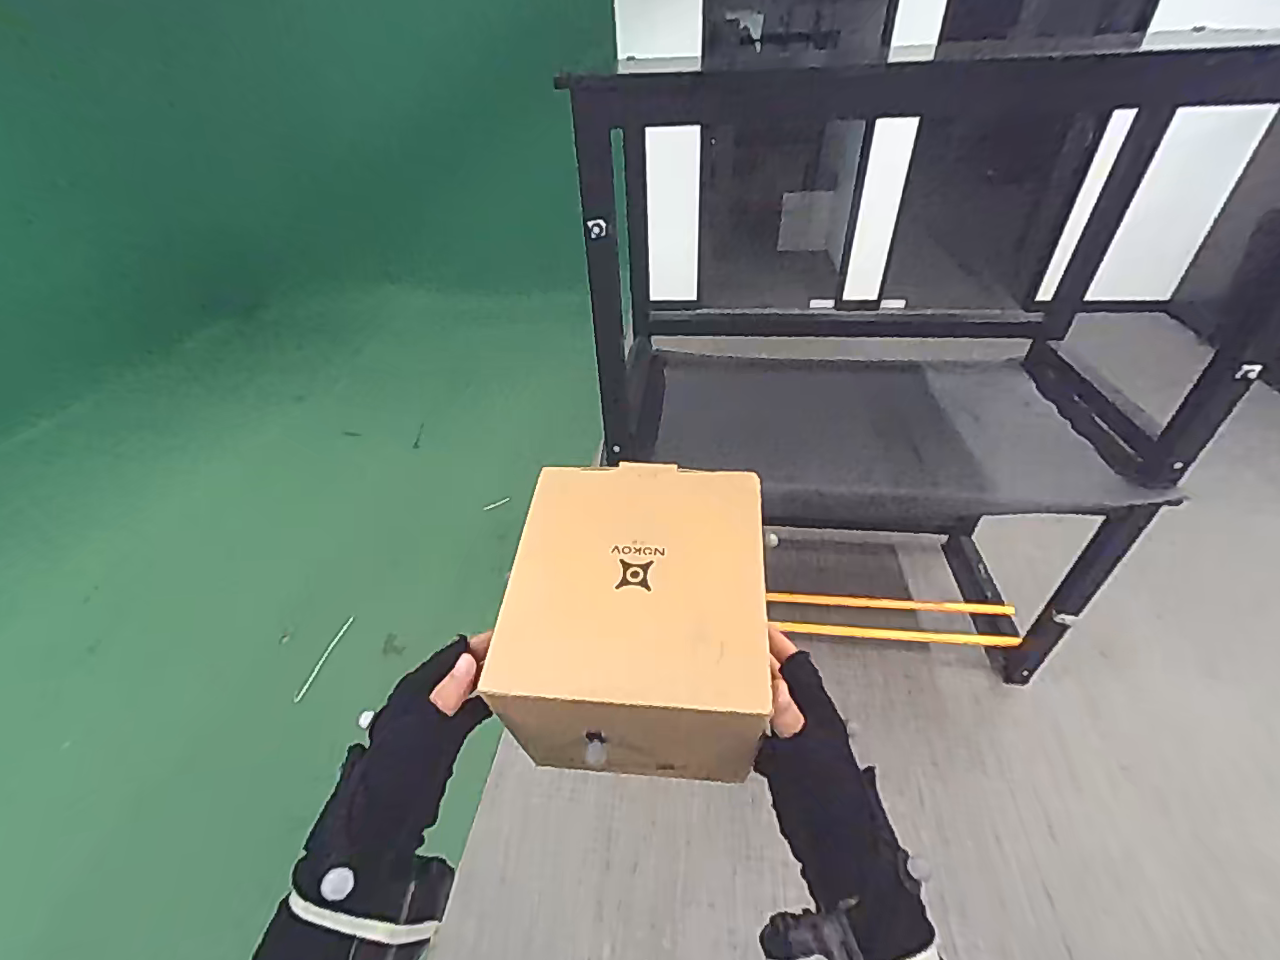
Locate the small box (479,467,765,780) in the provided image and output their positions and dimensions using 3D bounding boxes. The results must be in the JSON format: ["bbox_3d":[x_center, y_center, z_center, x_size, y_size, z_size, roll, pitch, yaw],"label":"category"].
[{"bbox_3d":[0.002,0.110,0.410,0.168,0.176,0.179,1,48,6],"label":"small box"}]
